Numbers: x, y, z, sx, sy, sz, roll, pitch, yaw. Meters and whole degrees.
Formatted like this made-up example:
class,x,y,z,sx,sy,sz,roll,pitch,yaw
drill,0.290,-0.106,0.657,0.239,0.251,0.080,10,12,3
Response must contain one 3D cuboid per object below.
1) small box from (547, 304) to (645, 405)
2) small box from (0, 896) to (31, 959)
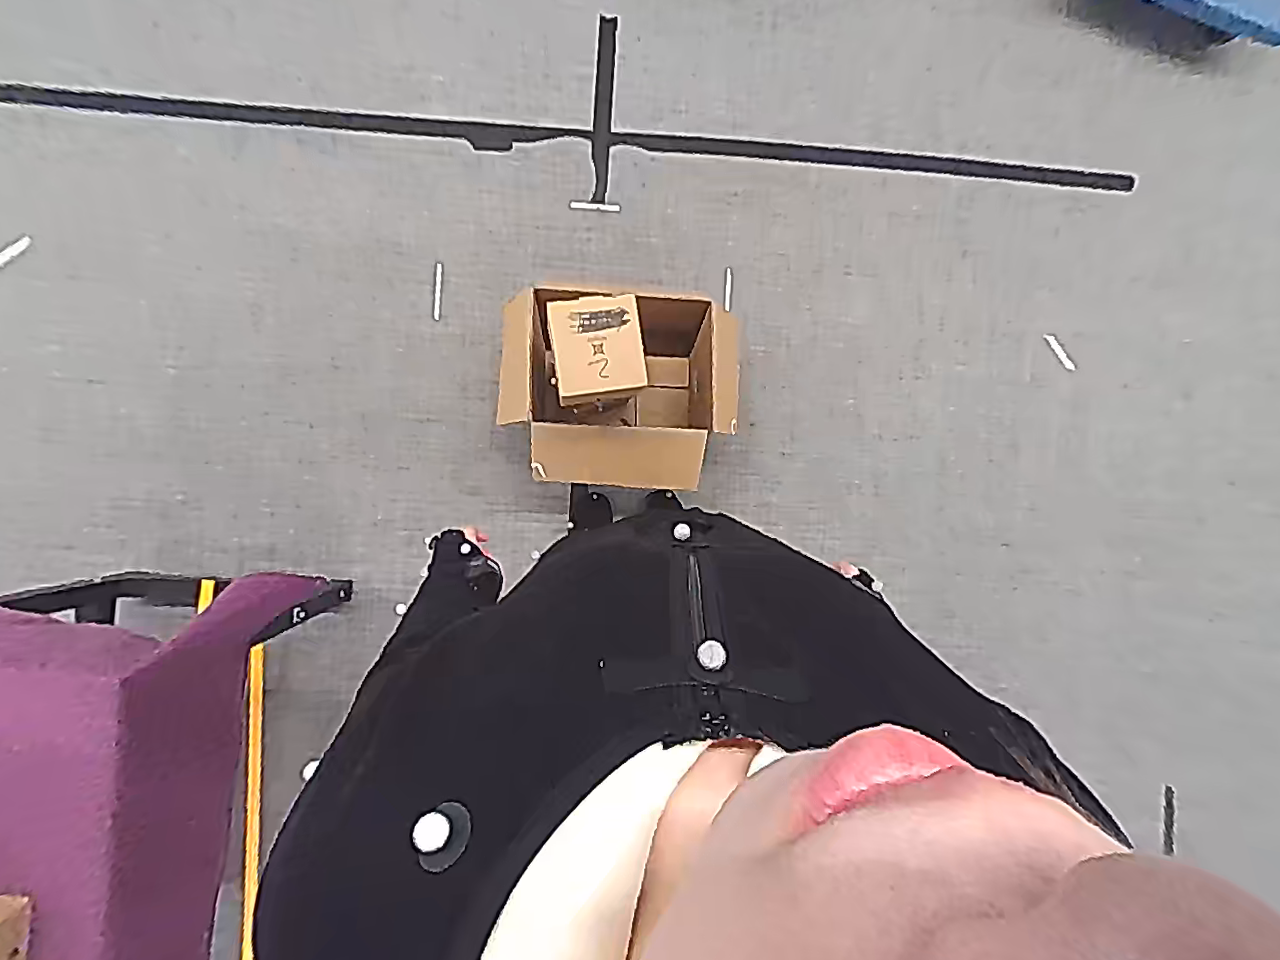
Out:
class,x,y,z,sx,sy,sz,roll,pitch,yaw
small box,-0.104,-0.279,1.240,0.179,0.176,0.168,-19,94,-8
small box,-0.895,0.627,0.636,0.179,0.176,0.168,7,90,-3
